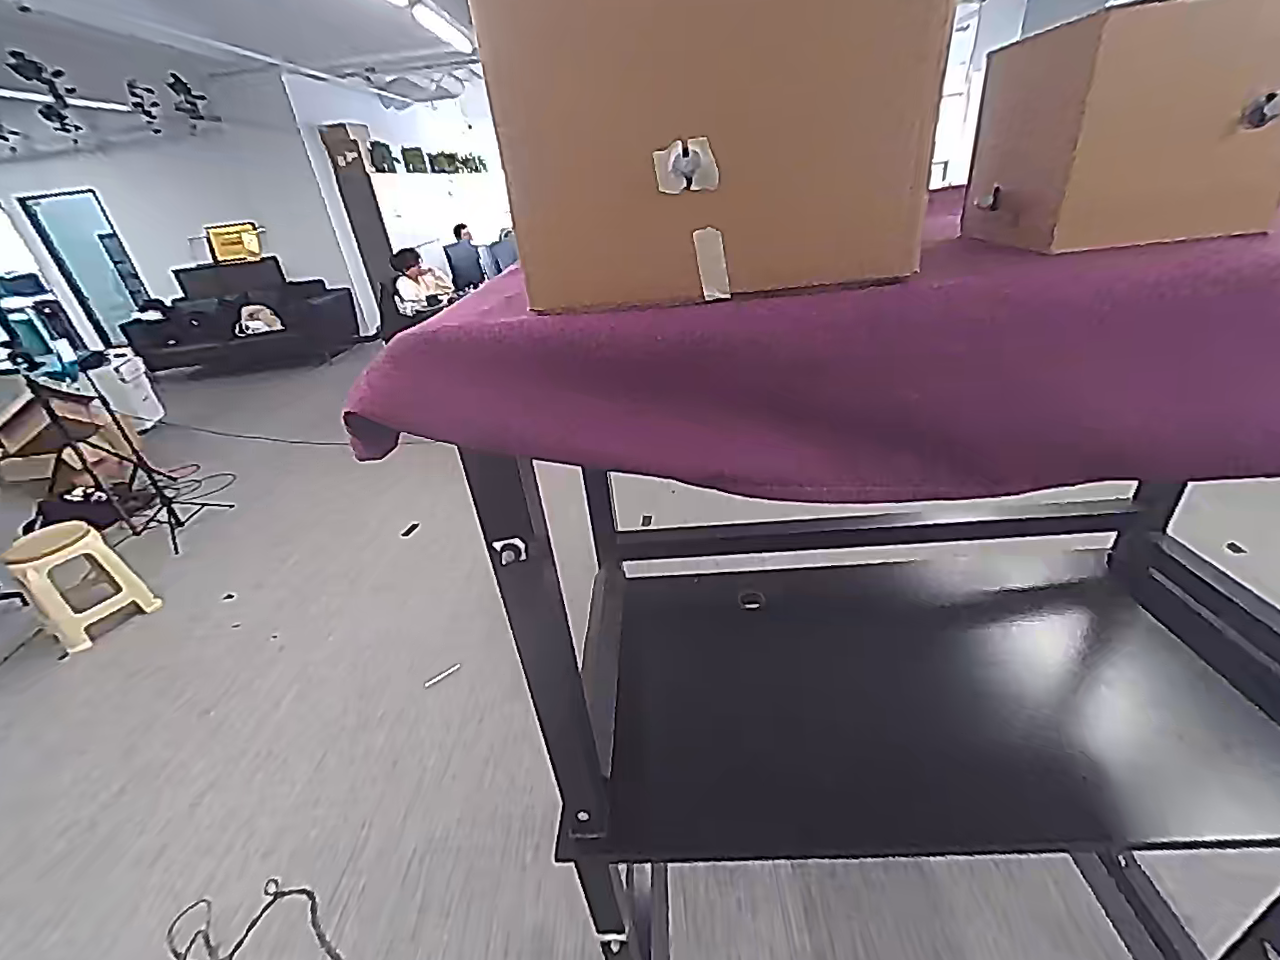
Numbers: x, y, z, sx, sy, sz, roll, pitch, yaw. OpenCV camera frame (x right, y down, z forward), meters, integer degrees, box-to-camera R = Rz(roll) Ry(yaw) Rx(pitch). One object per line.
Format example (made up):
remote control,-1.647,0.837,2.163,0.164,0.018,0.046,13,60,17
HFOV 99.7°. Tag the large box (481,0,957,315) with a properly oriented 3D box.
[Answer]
large box,0.055,-0.367,0.525,0.320,0.320,0.408,-4,28,4

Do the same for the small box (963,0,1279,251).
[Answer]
small box,0.424,-0.308,0.478,0.179,0.176,0.168,-4,28,4
